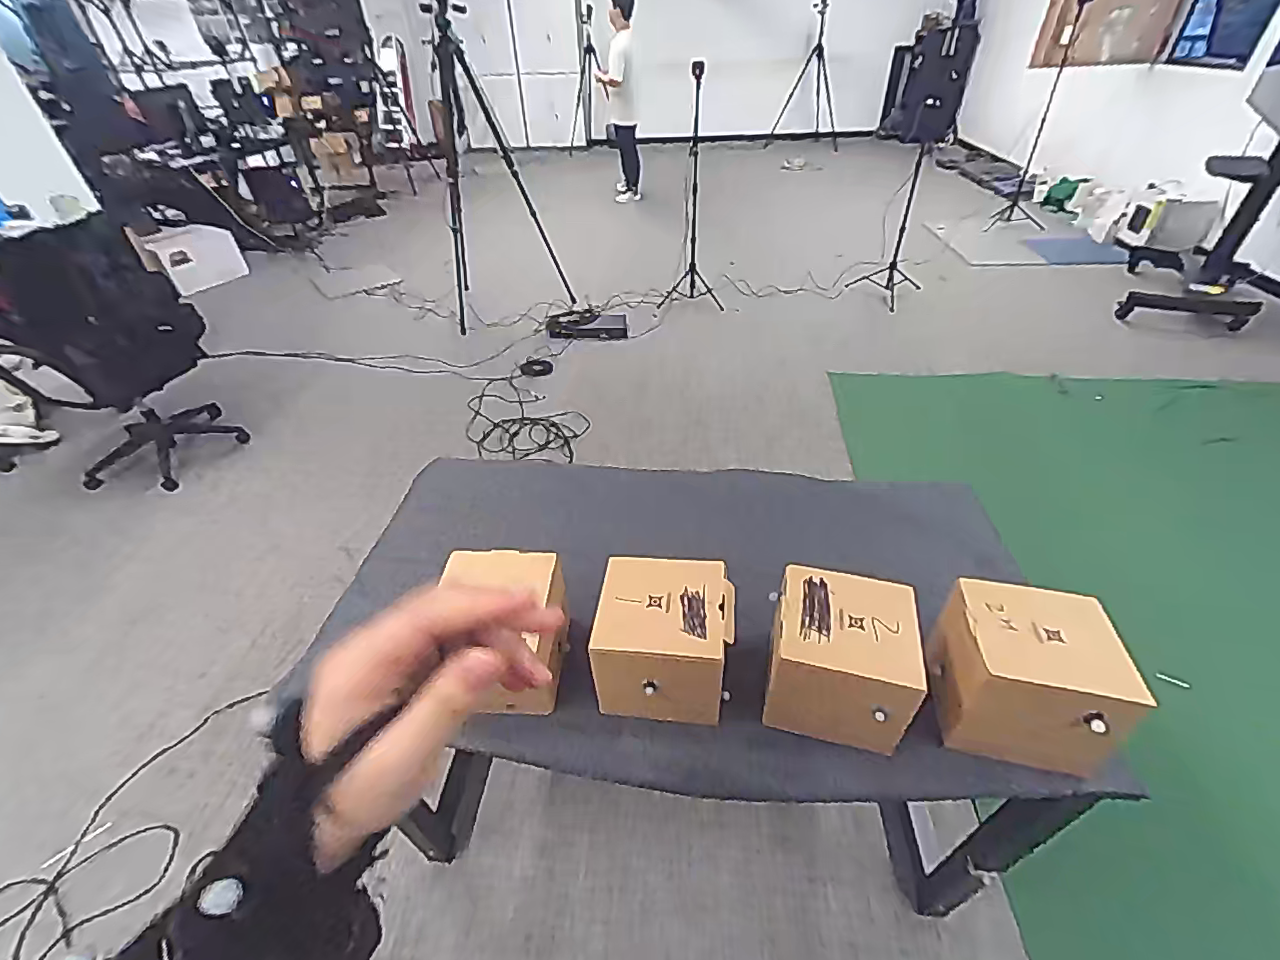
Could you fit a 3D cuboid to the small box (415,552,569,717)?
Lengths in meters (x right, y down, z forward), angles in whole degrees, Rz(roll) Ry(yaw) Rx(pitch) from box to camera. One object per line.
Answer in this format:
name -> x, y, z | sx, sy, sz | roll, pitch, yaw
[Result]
small box -> -0.206, 0.229, 0.814 | 0.168, 0.176, 0.179 | 0, 40, 5
